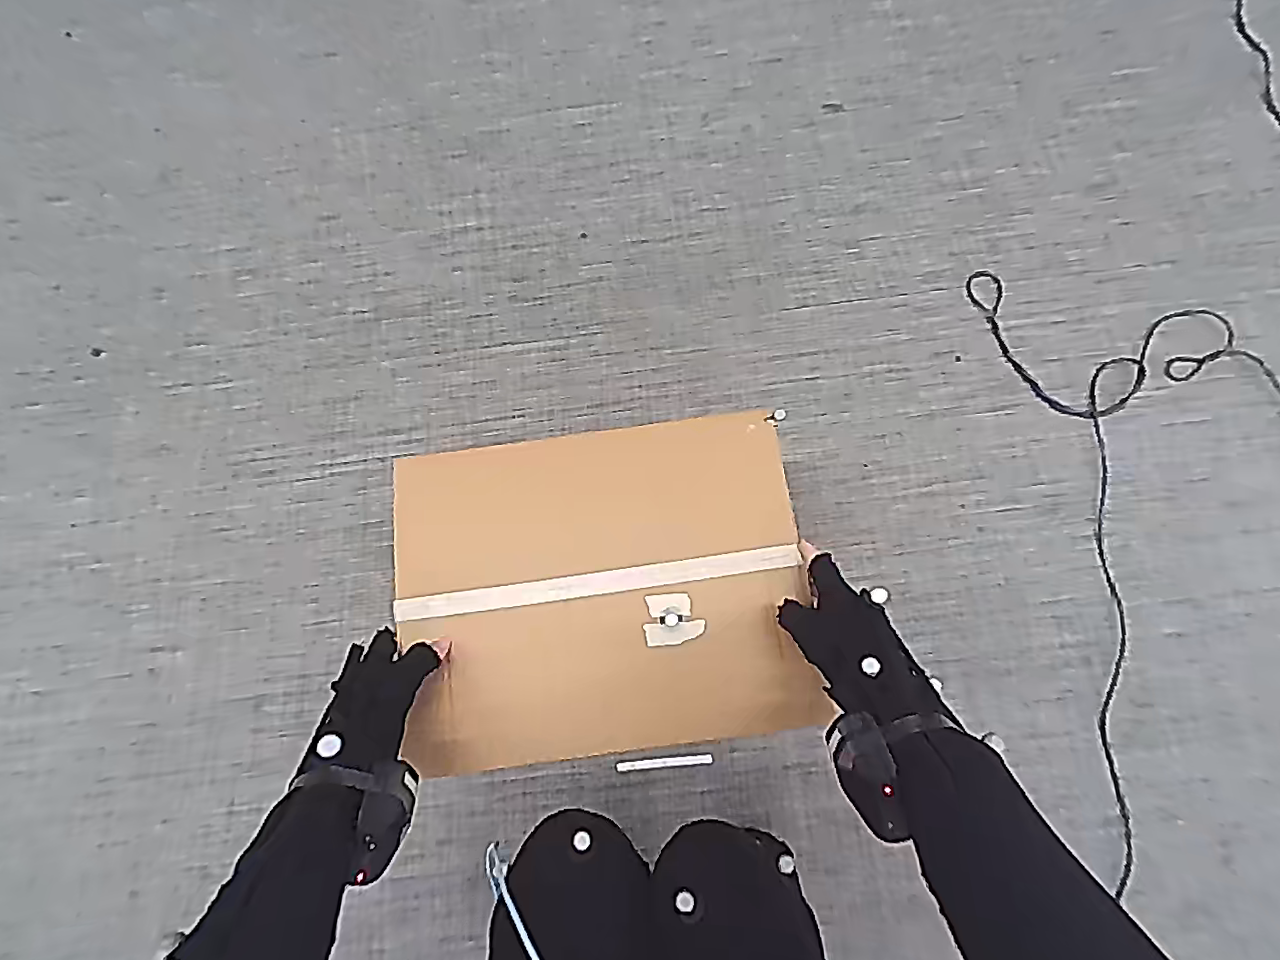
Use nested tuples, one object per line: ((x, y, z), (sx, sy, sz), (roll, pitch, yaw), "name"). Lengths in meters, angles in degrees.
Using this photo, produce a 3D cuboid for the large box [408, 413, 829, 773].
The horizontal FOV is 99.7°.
((-0.031, 0.140, 0.696), (0.408, 0.320, 0.320), (-8, 77, 0), "large box")
